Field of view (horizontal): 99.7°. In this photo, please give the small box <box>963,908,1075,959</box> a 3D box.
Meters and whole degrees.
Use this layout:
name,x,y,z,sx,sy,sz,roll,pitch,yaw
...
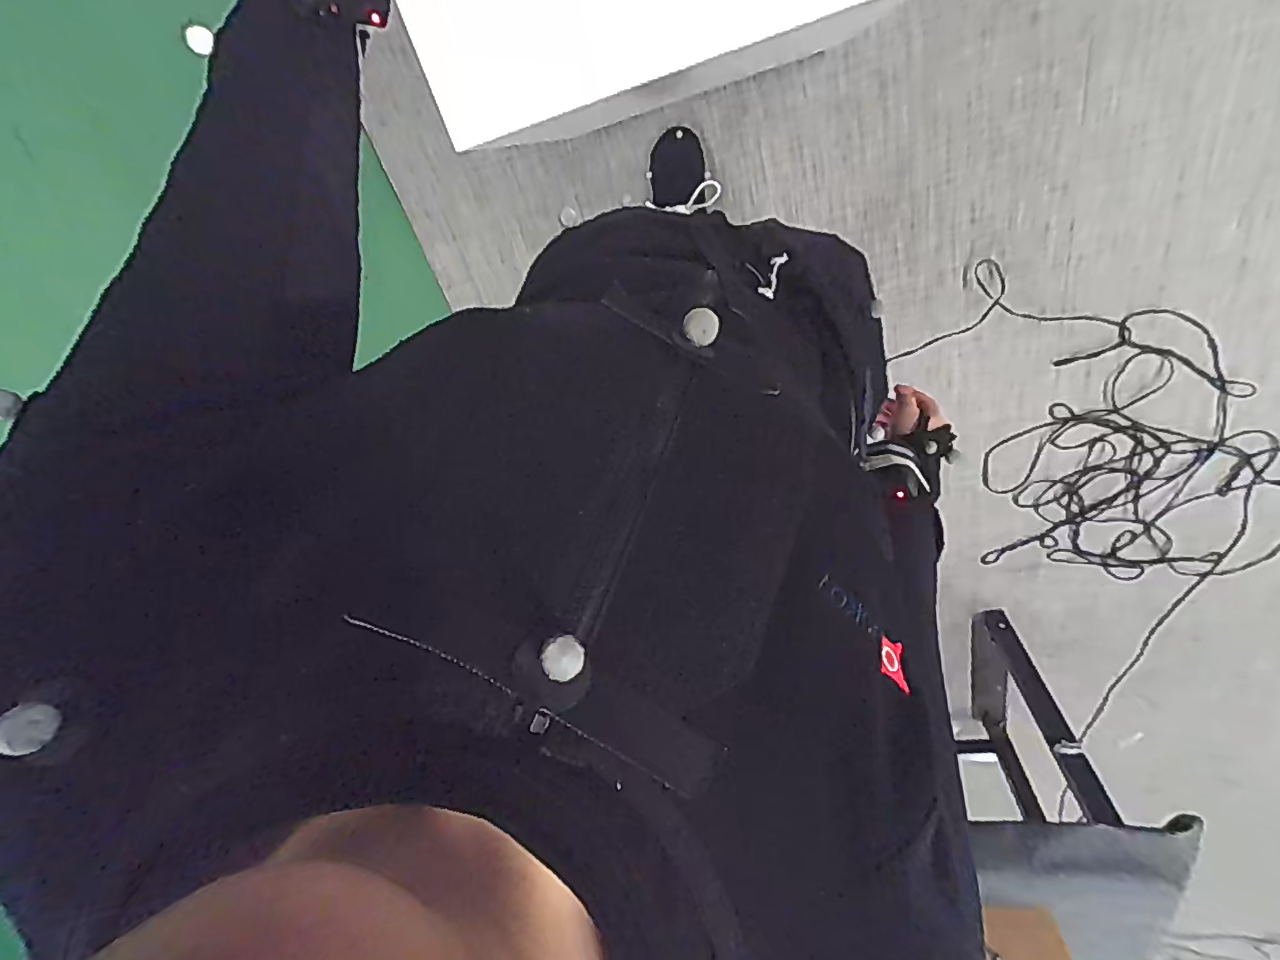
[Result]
name,x,y,z,sx,sy,sz,roll,pitch,yaw
small box,0.772,0.991,1.087,0.179,0.176,0.168,-15,121,17
